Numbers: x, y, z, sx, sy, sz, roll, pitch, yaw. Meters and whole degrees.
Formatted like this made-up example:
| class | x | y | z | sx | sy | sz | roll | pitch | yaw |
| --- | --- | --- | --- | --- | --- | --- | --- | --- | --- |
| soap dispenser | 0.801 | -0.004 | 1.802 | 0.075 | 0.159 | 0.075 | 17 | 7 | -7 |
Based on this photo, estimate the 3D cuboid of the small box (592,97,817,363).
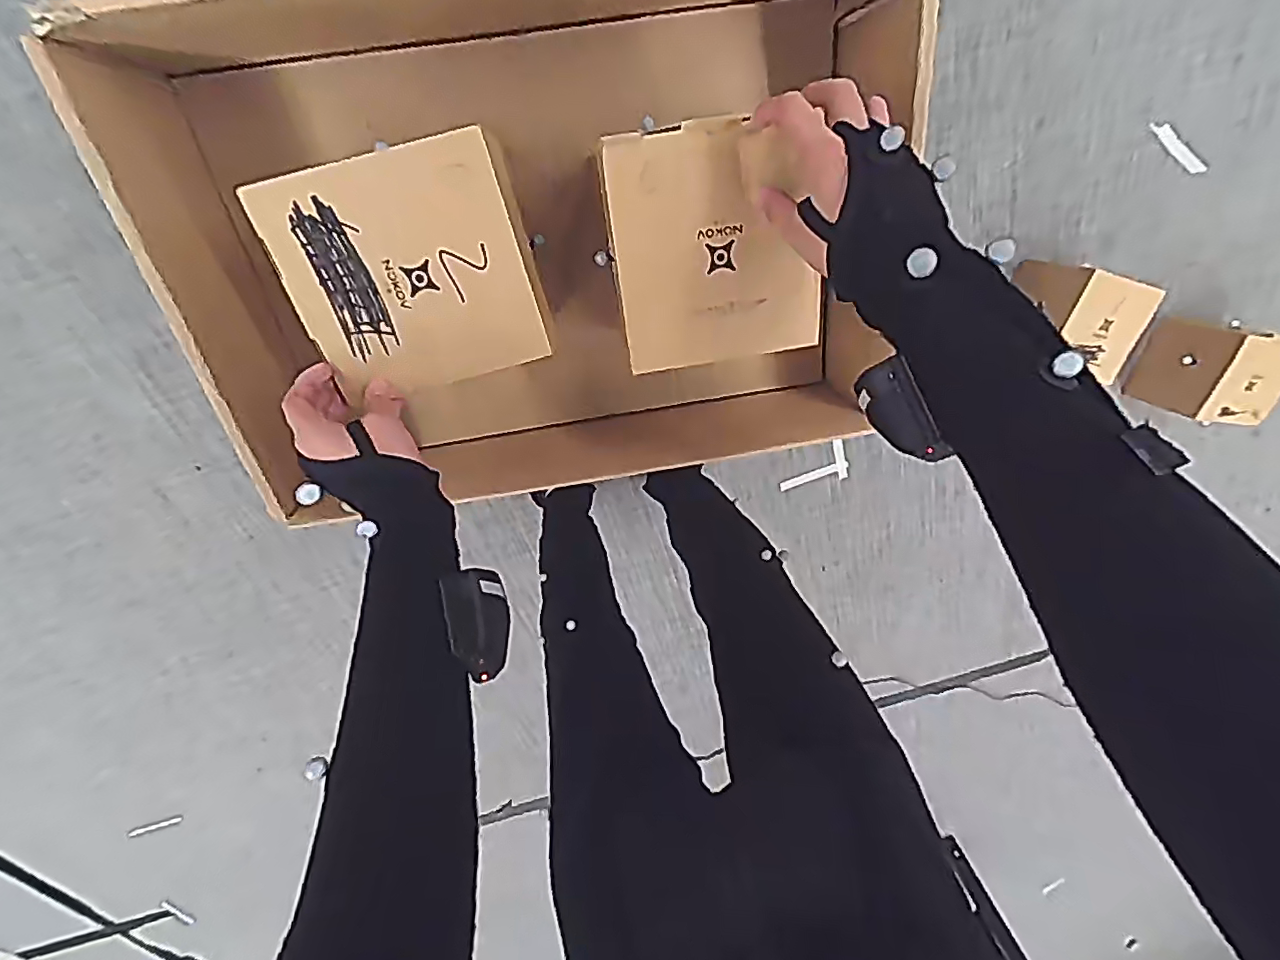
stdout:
| class | x | y | z | sx | sy | sz | roll | pitch | yaw |
| --- | --- | --- | --- | --- | --- | --- | --- | --- | --- |
| small box | 0.050 | -0.222 | 0.496 | 0.168 | 0.176 | 0.179 | -9 | 117 | -1 |

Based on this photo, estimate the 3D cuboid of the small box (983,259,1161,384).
| class | x | y | z | sx | sy | sz | roll | pitch | yaw |
| --- | --- | --- | --- | --- | --- | --- | --- | --- | --- |
| small box | 0.804 | -0.306 | 1.034 | 0.168 | 0.176 | 0.179 | 10 | 115 | -13 |

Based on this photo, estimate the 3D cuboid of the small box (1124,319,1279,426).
| class | x | y | z | sx | sy | sz | roll | pitch | yaw |
| --- | --- | --- | --- | --- | --- | --- | --- | --- | --- |
| small box | 1.181 | -0.229 | 1.128 | 0.168 | 0.176 | 0.179 | 4 | 116 | -10 |
